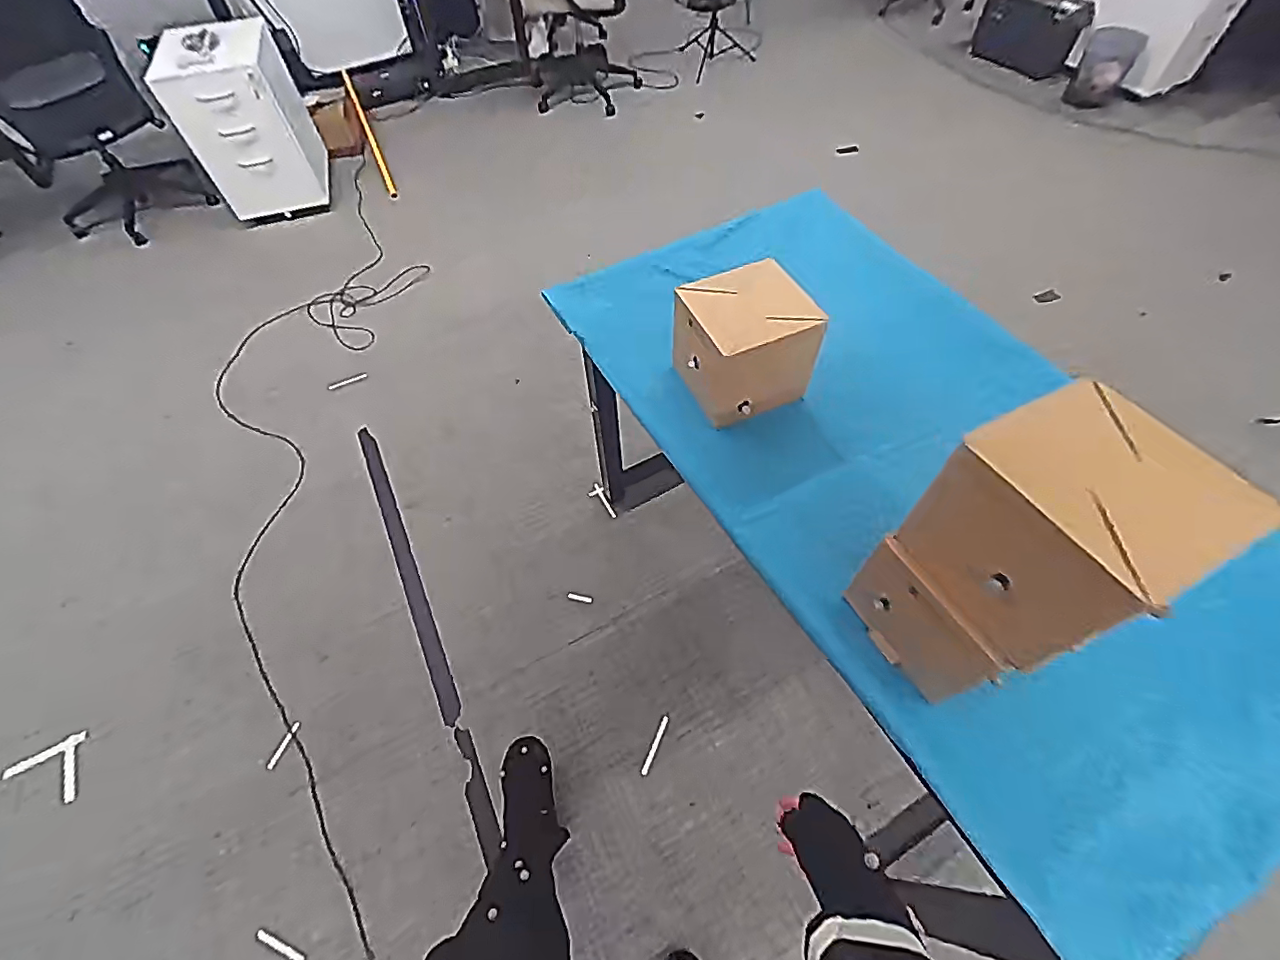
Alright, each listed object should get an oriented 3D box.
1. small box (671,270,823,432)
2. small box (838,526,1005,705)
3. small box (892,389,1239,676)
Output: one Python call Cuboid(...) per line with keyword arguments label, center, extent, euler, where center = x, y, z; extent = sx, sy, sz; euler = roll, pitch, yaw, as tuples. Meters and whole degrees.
Cuboid(label="small box", center=(0.165, -0.213, 0.881), extent=(0.179, 0.176, 0.168), euler=(-21, 60, -12))
Cuboid(label="small box", center=(0.380, 0.136, 0.650), extent=(0.179, 0.176, 0.168), euler=(-25, 60, -15))
Cuboid(label="small box", center=(0.386, 0.048, 0.512), extent=(0.168, 0.176, 0.179), euler=(-23, 57, -16))
